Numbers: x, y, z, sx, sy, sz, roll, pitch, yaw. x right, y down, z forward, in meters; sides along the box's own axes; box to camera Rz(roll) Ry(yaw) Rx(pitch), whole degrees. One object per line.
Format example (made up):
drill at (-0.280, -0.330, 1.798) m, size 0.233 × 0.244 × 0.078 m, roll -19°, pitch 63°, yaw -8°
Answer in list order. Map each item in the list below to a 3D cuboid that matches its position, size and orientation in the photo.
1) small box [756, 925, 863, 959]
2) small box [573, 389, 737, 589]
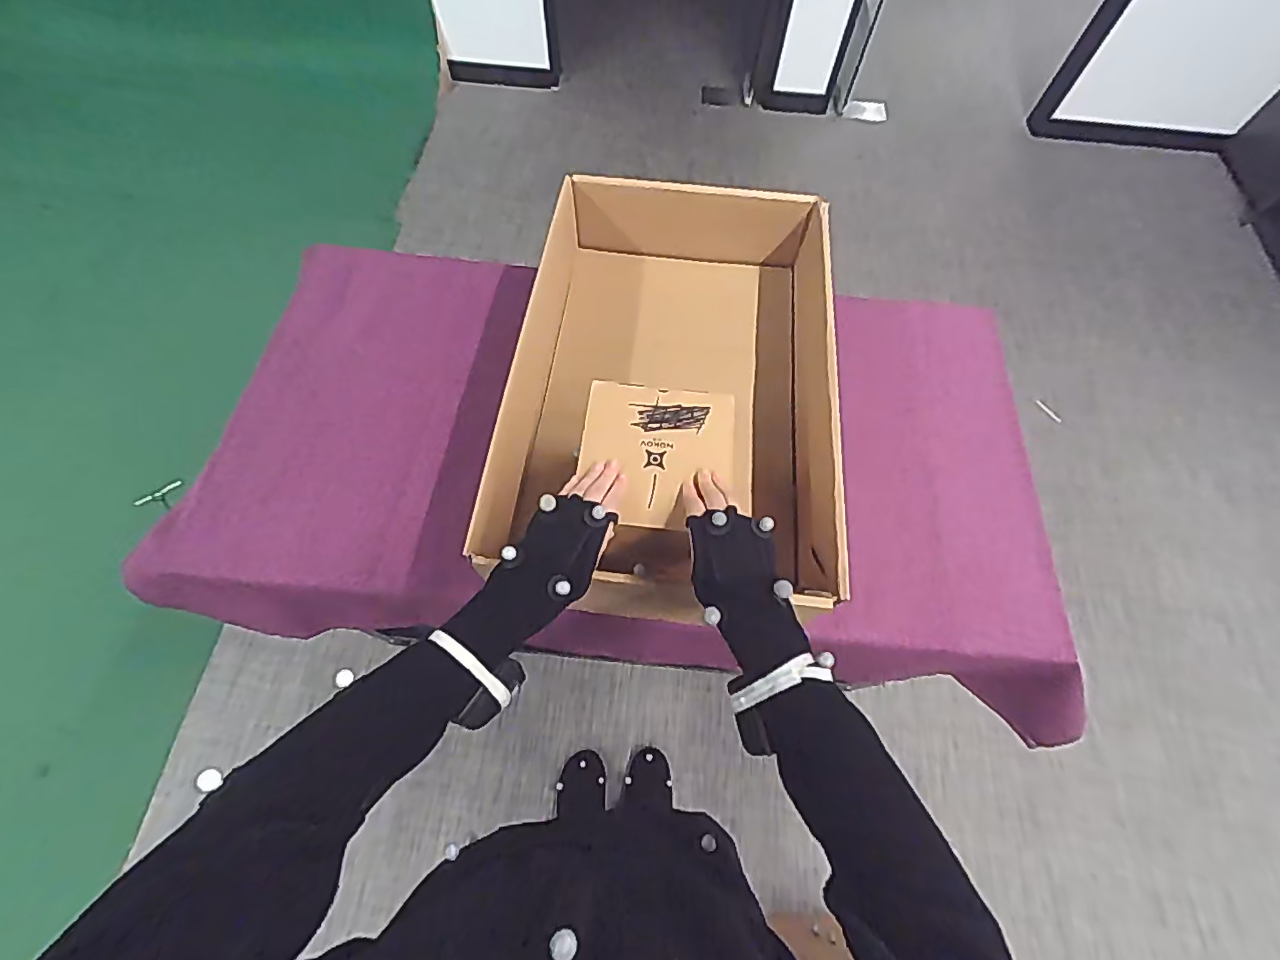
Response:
small box at (0.329, 0.995, 1.052) m, size 0.179 × 0.176 × 0.168 m, roll 1°, pitch 63°, yaw -2°
small box at (0.018, 0.017, 0.651) m, size 0.168 × 0.176 × 0.179 m, roll 6°, pitch 63°, yaw 2°
